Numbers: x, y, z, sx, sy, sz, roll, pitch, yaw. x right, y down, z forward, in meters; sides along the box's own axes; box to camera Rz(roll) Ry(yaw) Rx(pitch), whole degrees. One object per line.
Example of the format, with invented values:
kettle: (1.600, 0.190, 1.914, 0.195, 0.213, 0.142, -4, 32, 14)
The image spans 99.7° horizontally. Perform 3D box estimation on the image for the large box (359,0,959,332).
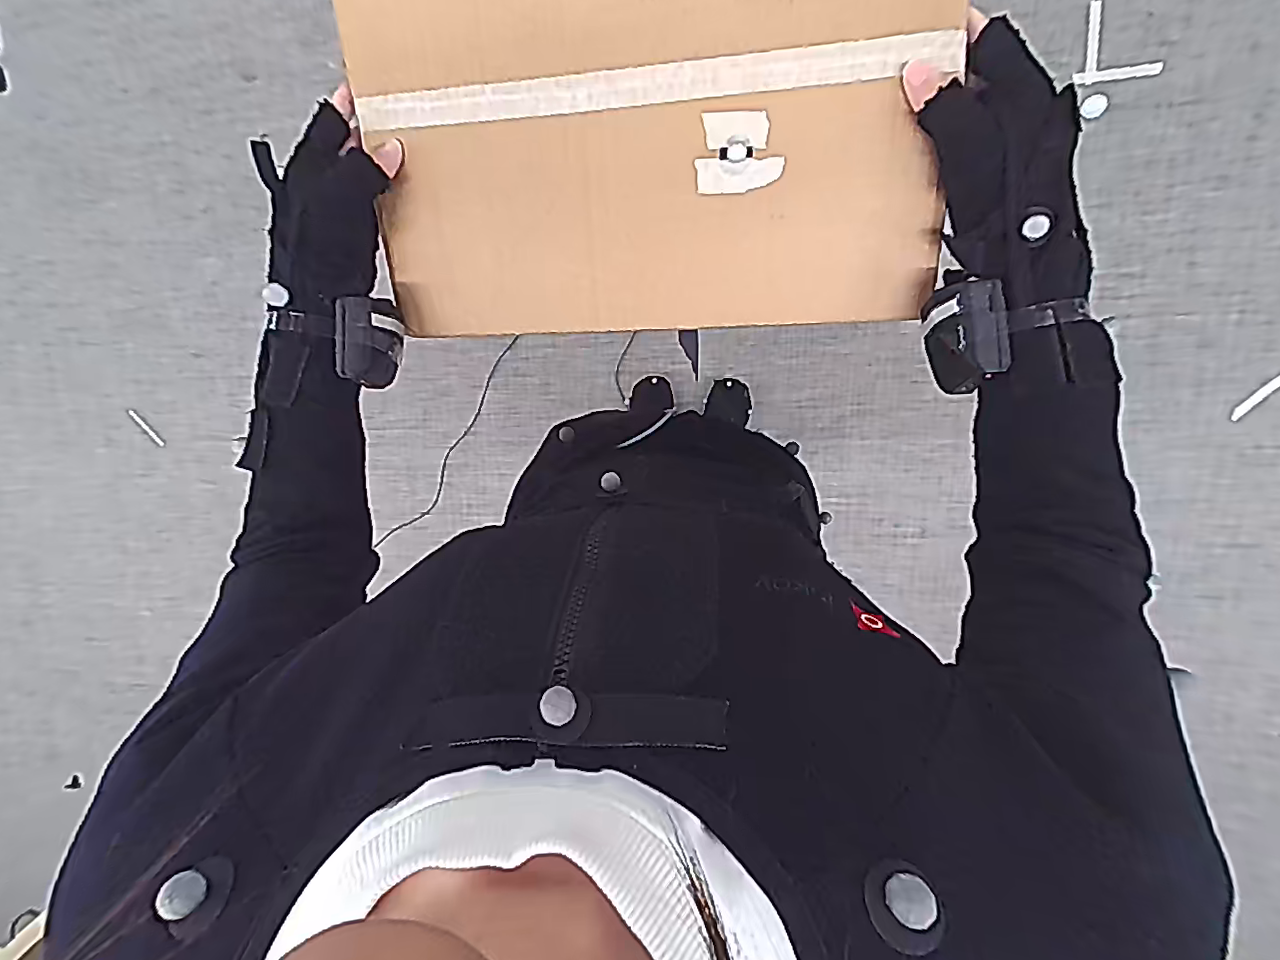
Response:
large box: (0.022, -0.322, 0.511, 0.408, 0.320, 0.320, 0, 111, 8)
